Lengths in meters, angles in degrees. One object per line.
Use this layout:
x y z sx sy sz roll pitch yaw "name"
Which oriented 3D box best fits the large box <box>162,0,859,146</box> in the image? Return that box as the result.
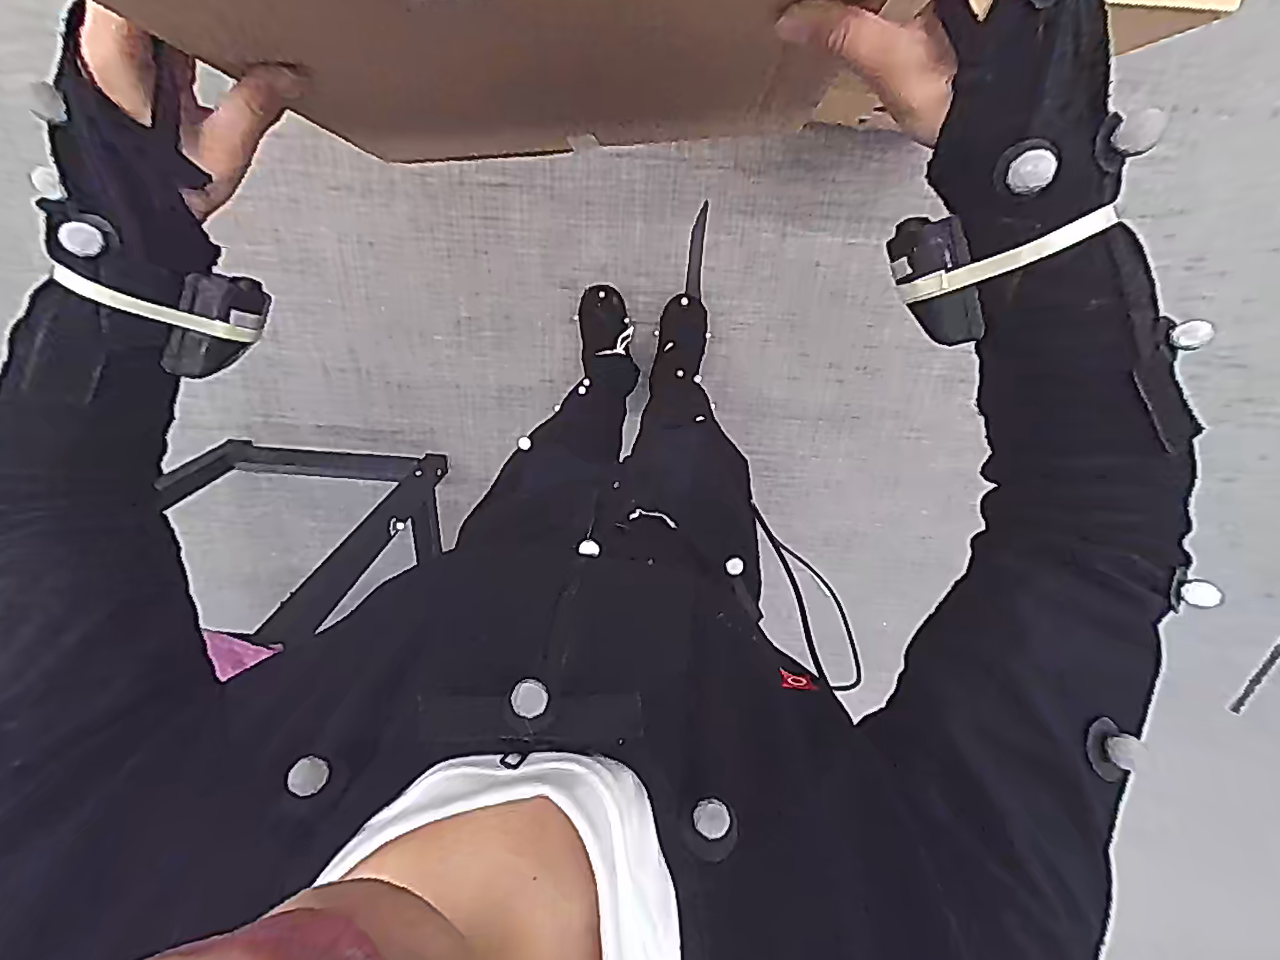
-0.059 -0.403 0.199 0.320 0.320 0.408 -2 107 5 "large box"
